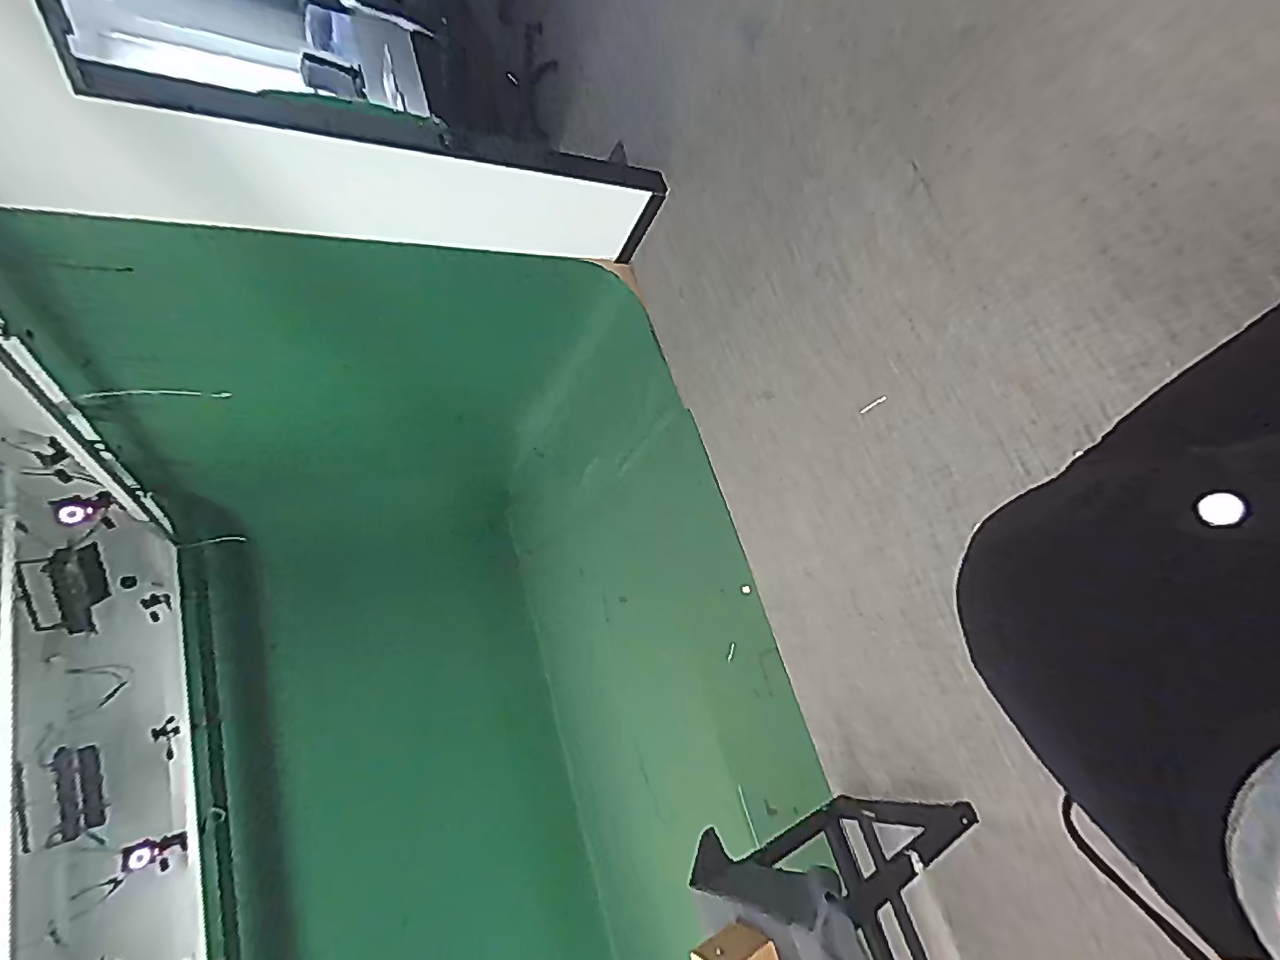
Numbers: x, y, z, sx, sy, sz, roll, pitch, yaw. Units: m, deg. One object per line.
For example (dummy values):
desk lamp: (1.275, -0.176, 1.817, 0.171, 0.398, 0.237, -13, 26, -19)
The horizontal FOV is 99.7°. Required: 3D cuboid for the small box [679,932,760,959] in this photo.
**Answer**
small box: (0.227, 1.347, 1.427, 0.179, 0.176, 0.168, -39, 62, 55)
